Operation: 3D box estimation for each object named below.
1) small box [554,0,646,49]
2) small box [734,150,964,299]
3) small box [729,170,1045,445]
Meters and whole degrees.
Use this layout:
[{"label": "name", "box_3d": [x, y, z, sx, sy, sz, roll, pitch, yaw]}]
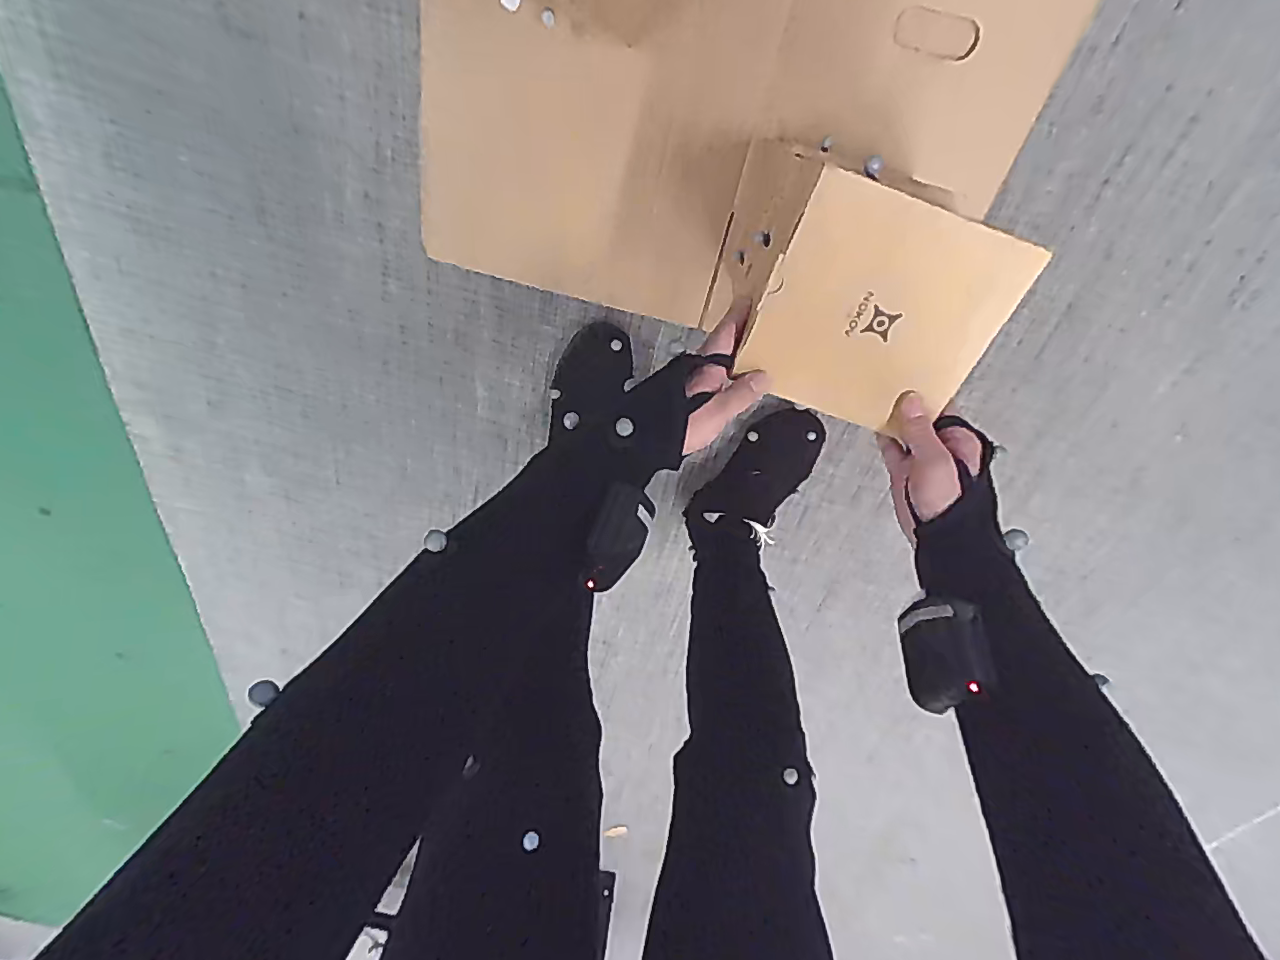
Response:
[{"label": "small box", "box_3d": [-0.067, -0.520, 0.483, 0.179, 0.176, 0.168, 21, 122, -6]}, {"label": "small box", "box_3d": [0.213, -0.260, 0.616, 0.179, 0.176, 0.168, 15, 124, -2]}, {"label": "small box", "box_3d": [0.190, -0.161, 0.481, 0.179, 0.176, 0.168, 18, 123, -3]}]
